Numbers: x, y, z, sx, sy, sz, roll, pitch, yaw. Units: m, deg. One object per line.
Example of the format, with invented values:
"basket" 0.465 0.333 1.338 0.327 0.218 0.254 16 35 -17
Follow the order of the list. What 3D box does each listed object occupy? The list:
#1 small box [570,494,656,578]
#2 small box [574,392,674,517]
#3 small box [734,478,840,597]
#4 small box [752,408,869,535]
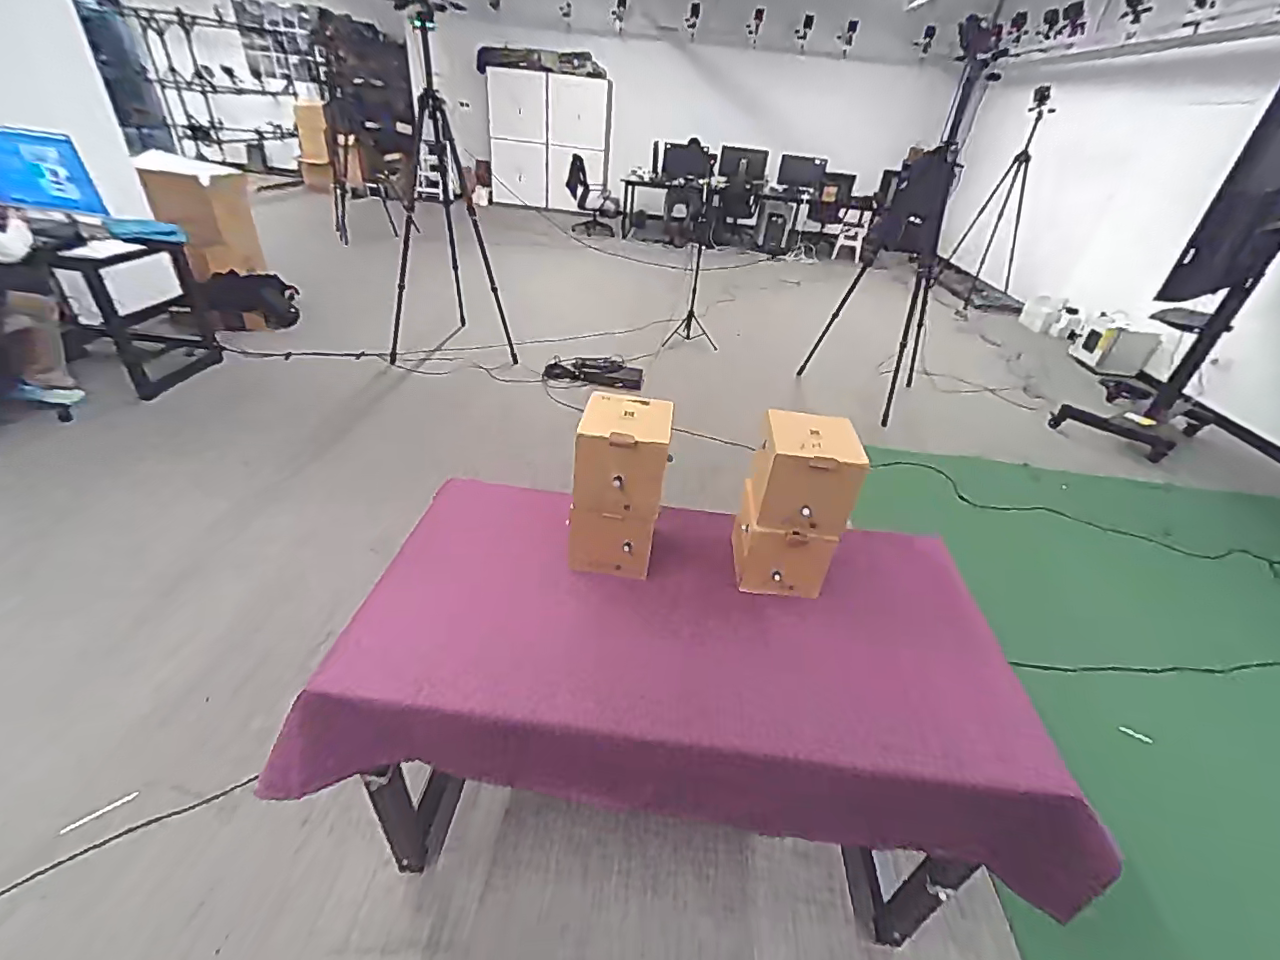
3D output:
"small box" -0.051 0.084 1.142 0.168 0.176 0.179 8 34 1
"small box" -0.030 -0.049 1.047 0.168 0.176 0.179 8 35 2
"small box" 0.297 0.119 1.139 0.168 0.176 0.179 6 35 0
"small box" 0.318 -0.019 1.051 0.168 0.176 0.179 7 35 3
